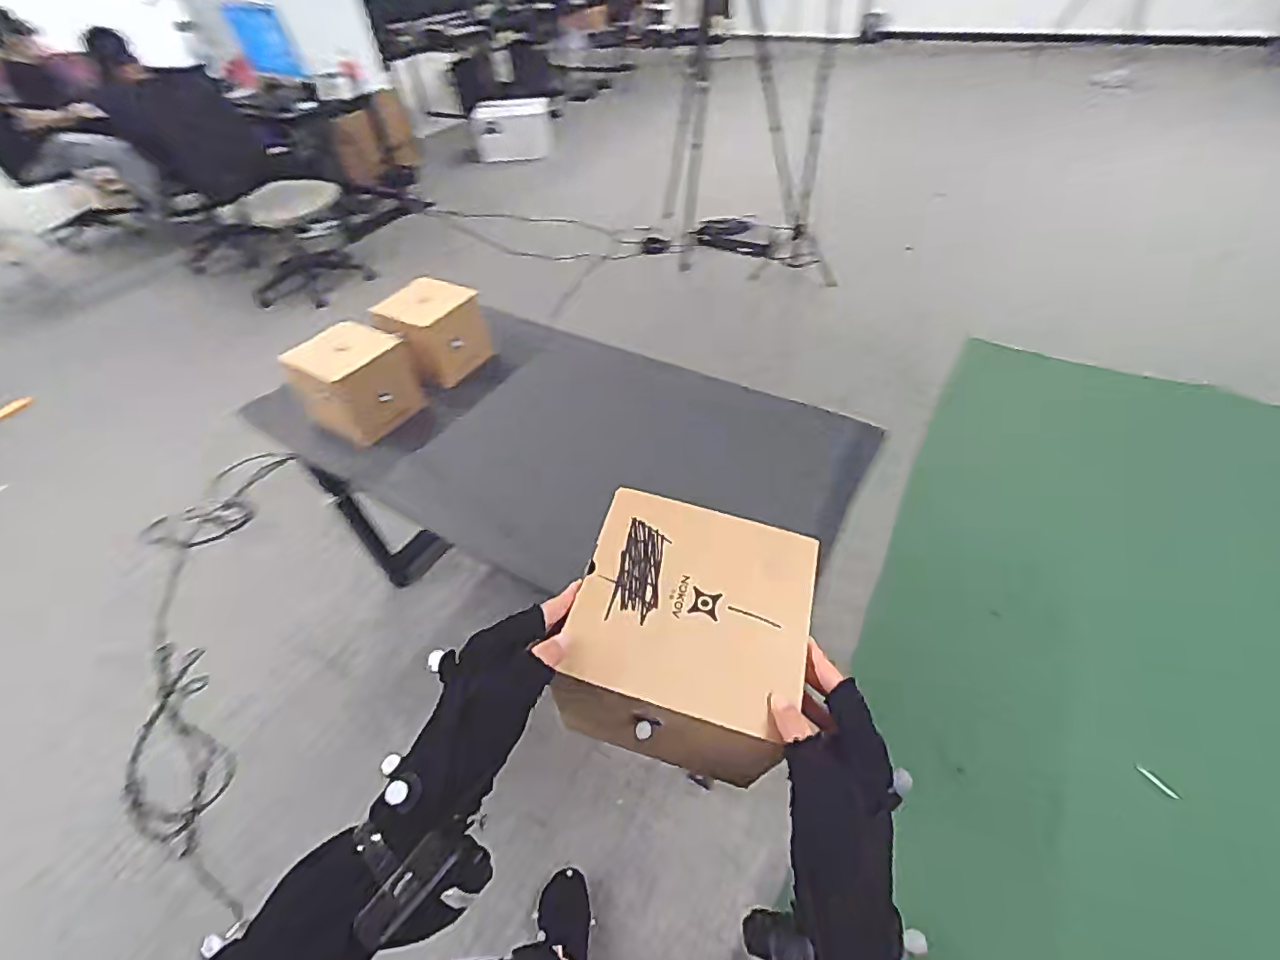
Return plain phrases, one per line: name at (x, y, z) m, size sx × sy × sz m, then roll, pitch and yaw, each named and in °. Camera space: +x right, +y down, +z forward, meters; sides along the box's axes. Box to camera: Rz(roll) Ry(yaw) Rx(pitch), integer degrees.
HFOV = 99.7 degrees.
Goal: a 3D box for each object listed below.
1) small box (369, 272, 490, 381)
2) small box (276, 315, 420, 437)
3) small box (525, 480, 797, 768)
small box at (-0.481, -0.355, 1.262) m, size 0.179 × 0.176 × 0.168 m, roll 21°, pitch 52°, yaw 22°
small box at (-0.599, -0.215, 1.134) m, size 0.179 × 0.176 × 0.168 m, roll 22°, pitch 51°, yaw 22°
small box at (0.020, 0.130, 0.470) m, size 0.179 × 0.176 × 0.168 m, roll 15°, pitch 54°, yaw 6°
